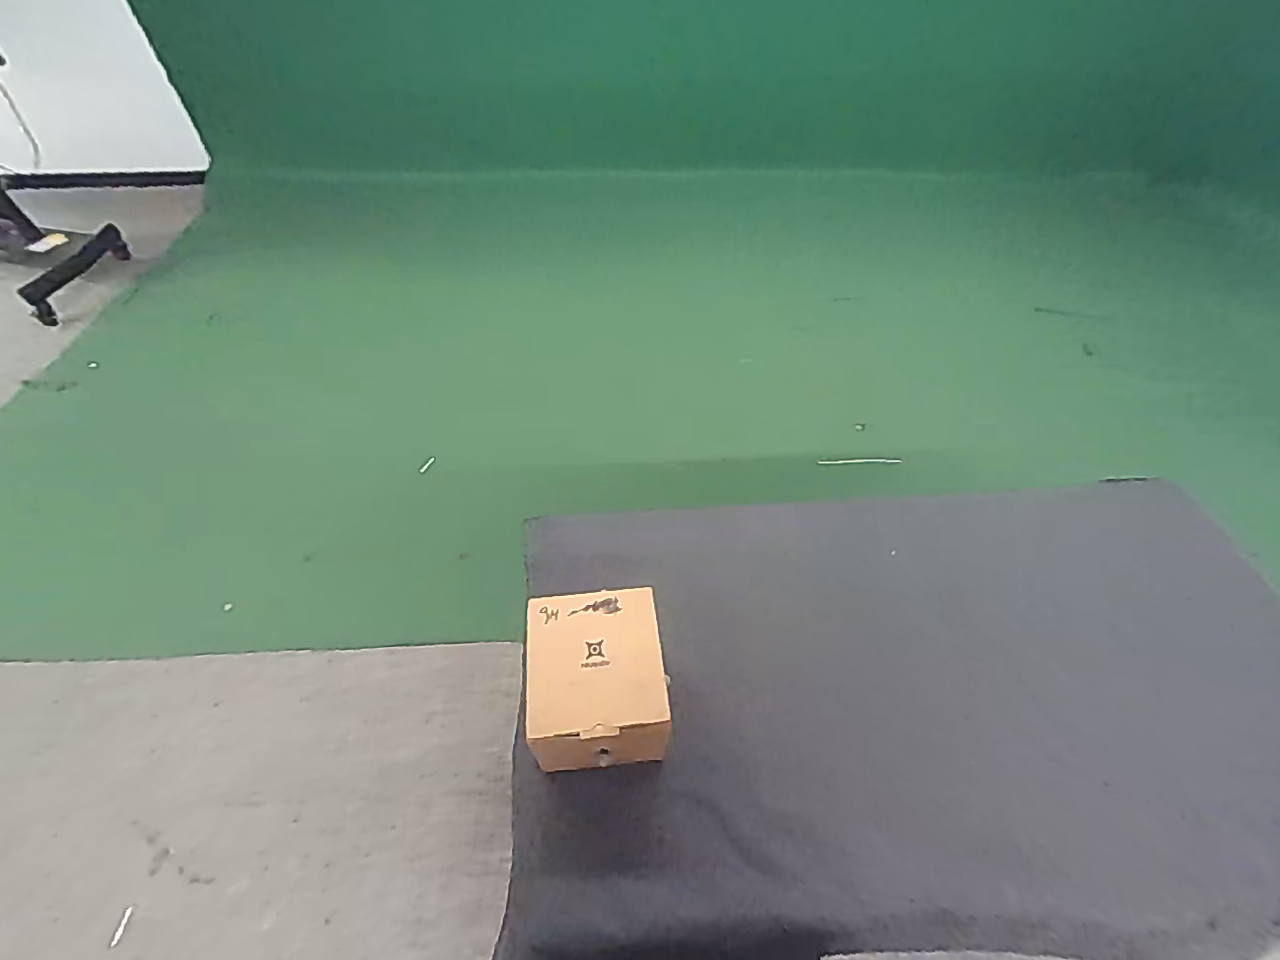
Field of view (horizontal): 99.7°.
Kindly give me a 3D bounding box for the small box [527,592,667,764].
[{"bbox_3d":[-0.057,0.273,0.732,0.168,0.176,0.179,-4,52,-5],"label":"small box"}]
